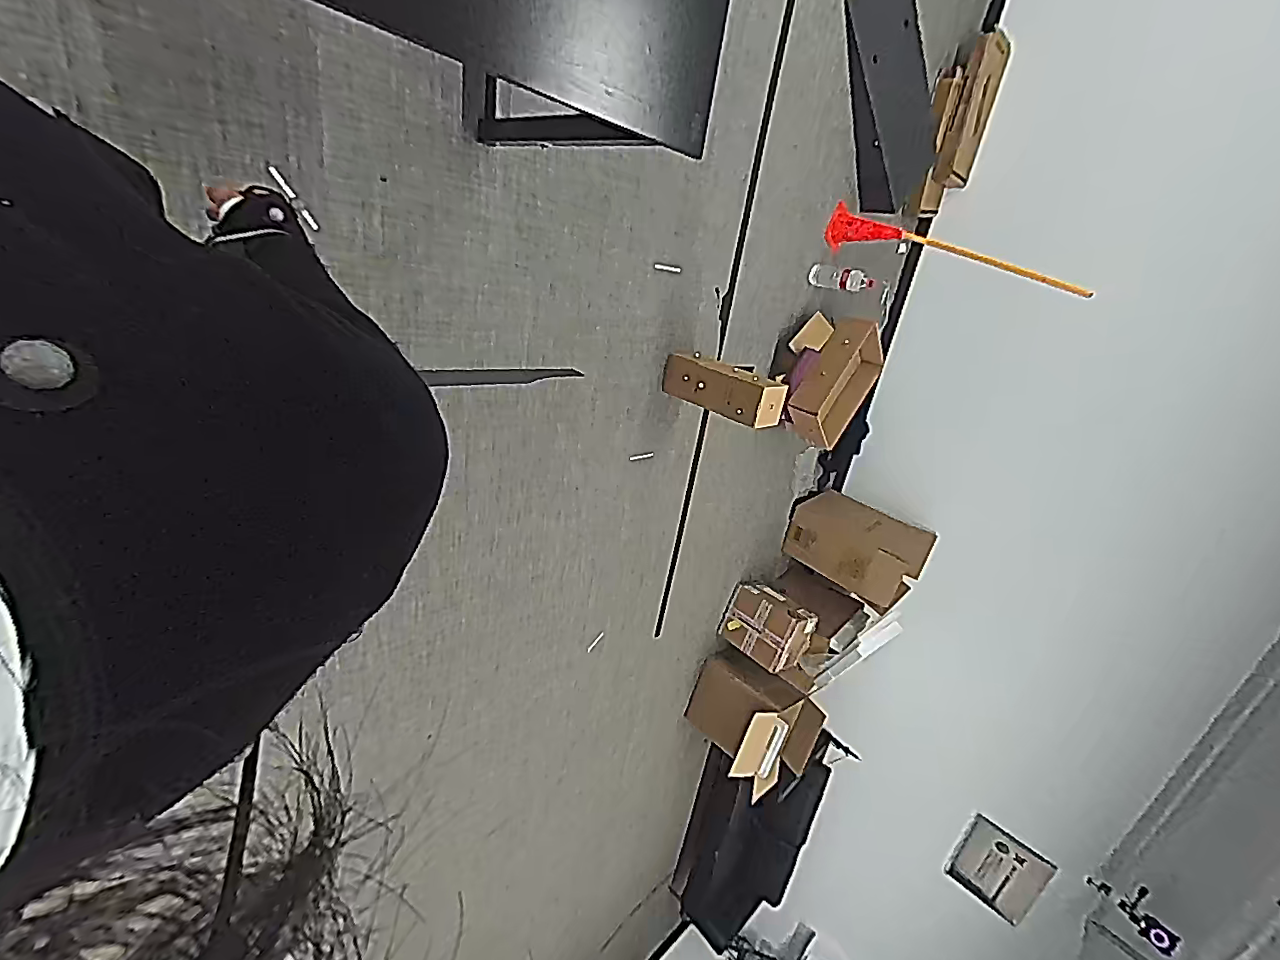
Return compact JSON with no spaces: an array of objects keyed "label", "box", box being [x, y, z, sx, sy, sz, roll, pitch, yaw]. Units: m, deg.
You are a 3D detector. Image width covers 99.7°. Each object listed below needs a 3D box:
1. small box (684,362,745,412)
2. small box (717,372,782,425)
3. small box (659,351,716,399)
[{"label":"small box","box":[0.312,-0.390,2.235,0.179,0.176,0.168,-13,122,-44]},{"label":"small box","box":[0.428,-0.326,2.140,0.179,0.176,0.168,-15,124,-45]},{"label":"small box","box":[0.202,-0.456,2.337,0.168,0.176,0.179,-13,122,-44]}]
